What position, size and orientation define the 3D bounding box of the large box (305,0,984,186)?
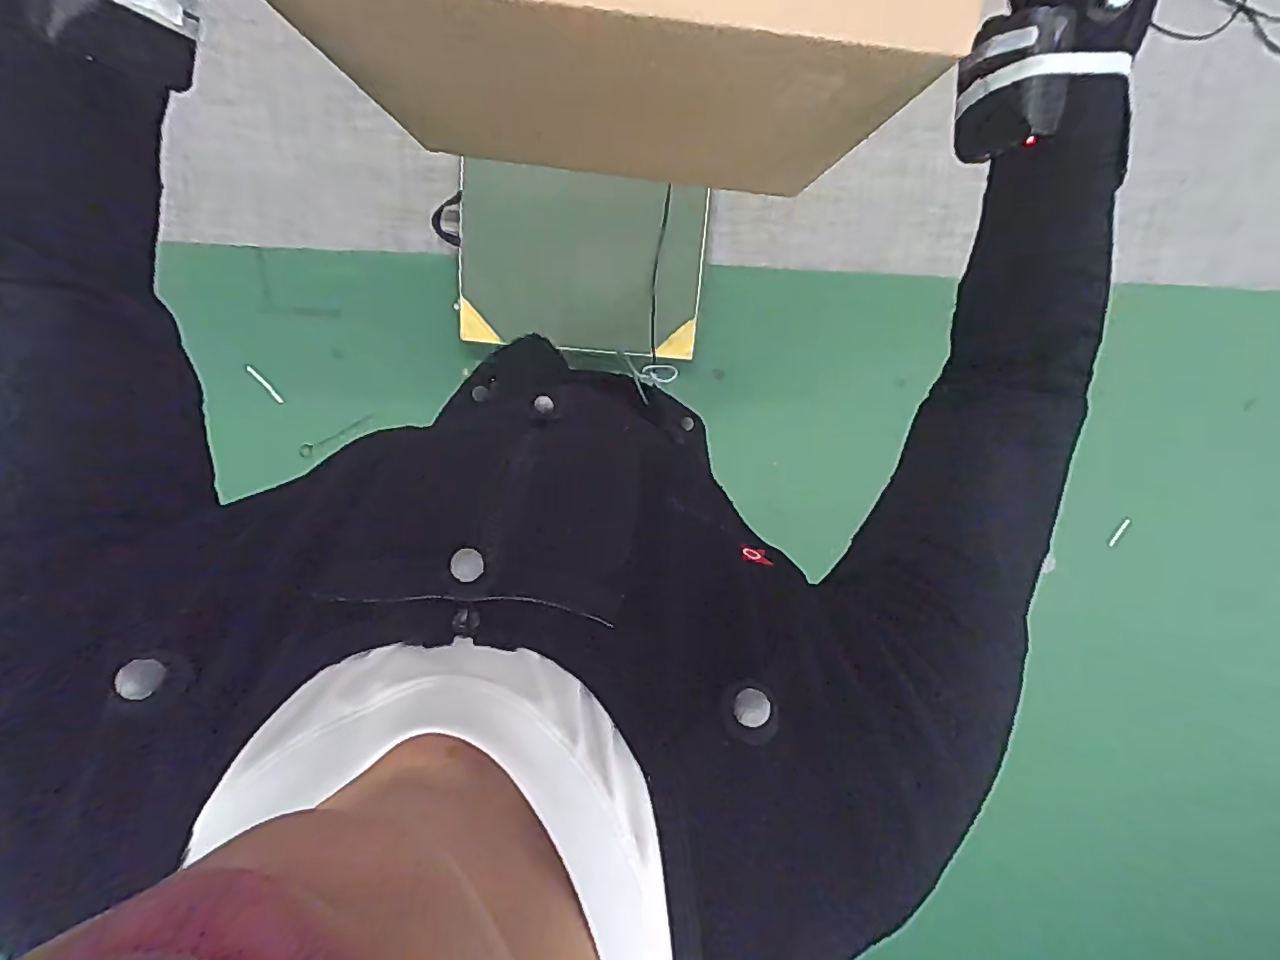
[{"bbox_3d":[-0.002,-0.444,0.401,0.408,0.320,0.320,5,105,-4],"label":"large box"}]
